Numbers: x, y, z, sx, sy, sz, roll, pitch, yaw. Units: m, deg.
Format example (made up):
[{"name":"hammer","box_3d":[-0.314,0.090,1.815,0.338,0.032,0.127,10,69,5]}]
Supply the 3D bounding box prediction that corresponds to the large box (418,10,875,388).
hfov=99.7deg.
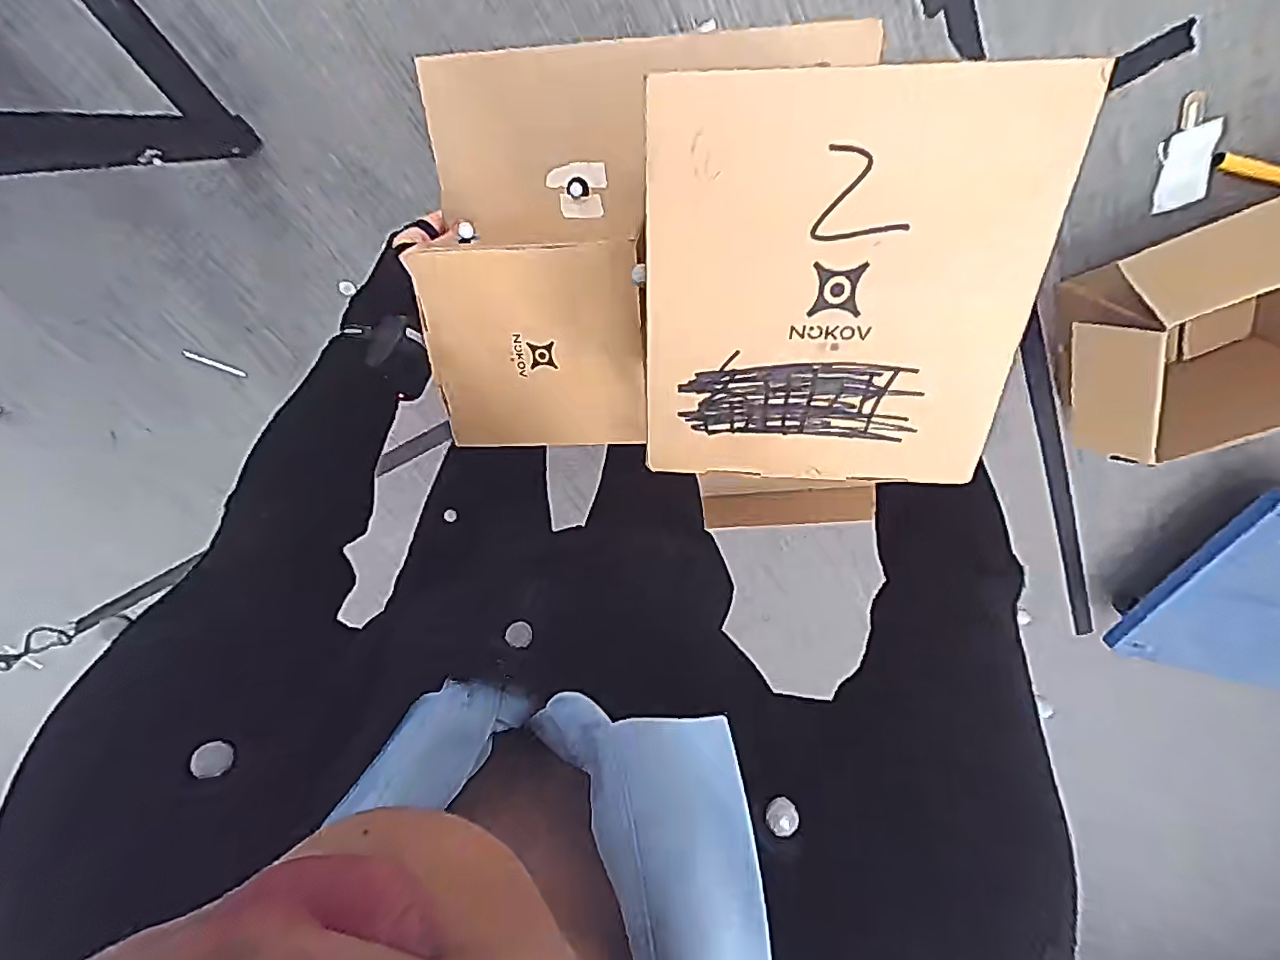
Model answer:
[{"name":"large box","box_3d":[0.022,-0.319,0.660,0.408,0.320,0.320,0,120,6]}]
